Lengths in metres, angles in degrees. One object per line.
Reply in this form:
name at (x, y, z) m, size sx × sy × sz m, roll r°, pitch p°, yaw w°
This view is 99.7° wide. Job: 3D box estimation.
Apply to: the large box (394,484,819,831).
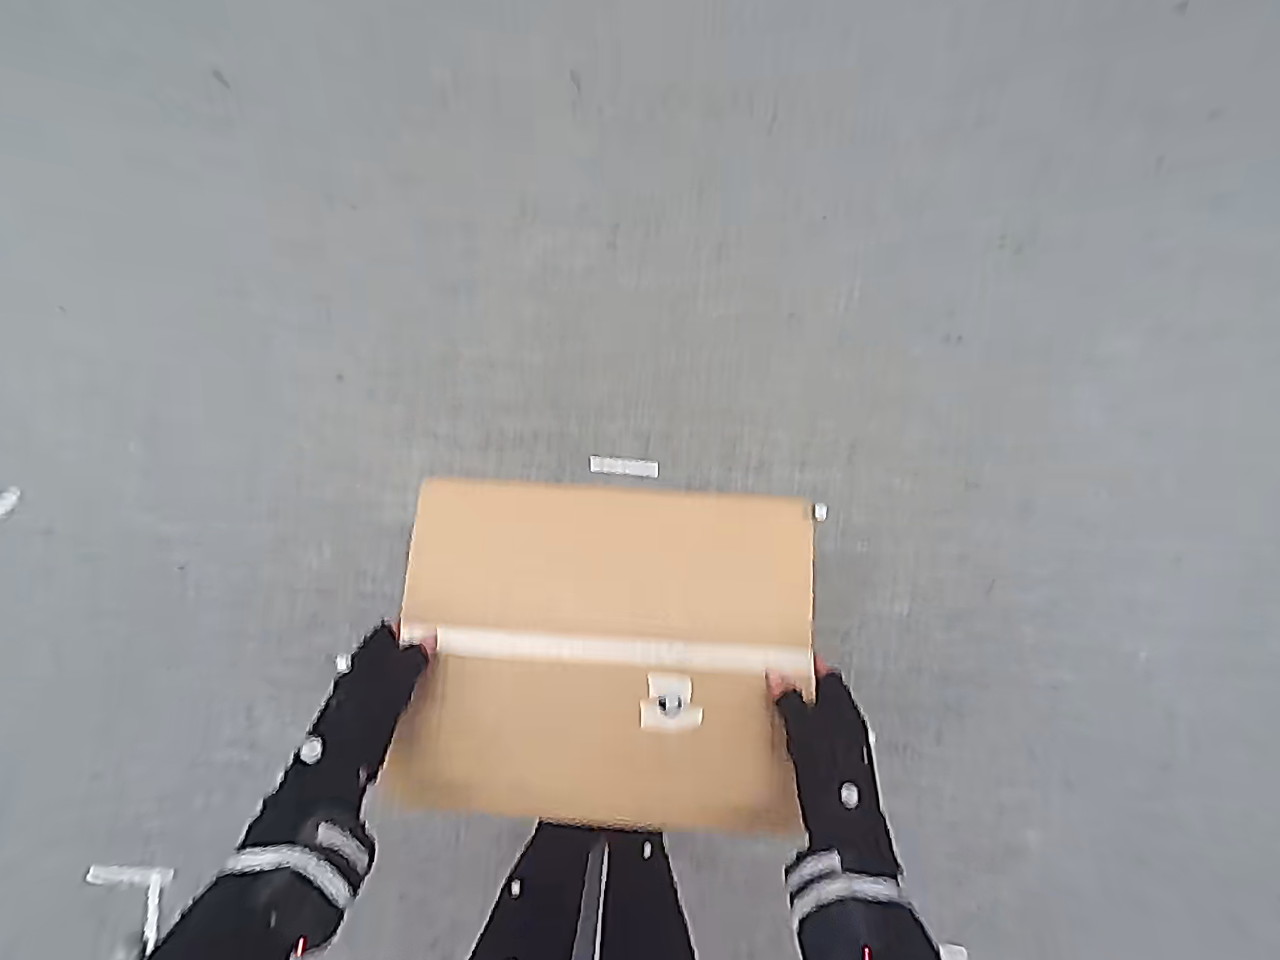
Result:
large box at (-0.026, 0.193, 0.673) m, size 0.408 × 0.320 × 0.320 m, roll 4°, pitch 80°, yaw 1°
